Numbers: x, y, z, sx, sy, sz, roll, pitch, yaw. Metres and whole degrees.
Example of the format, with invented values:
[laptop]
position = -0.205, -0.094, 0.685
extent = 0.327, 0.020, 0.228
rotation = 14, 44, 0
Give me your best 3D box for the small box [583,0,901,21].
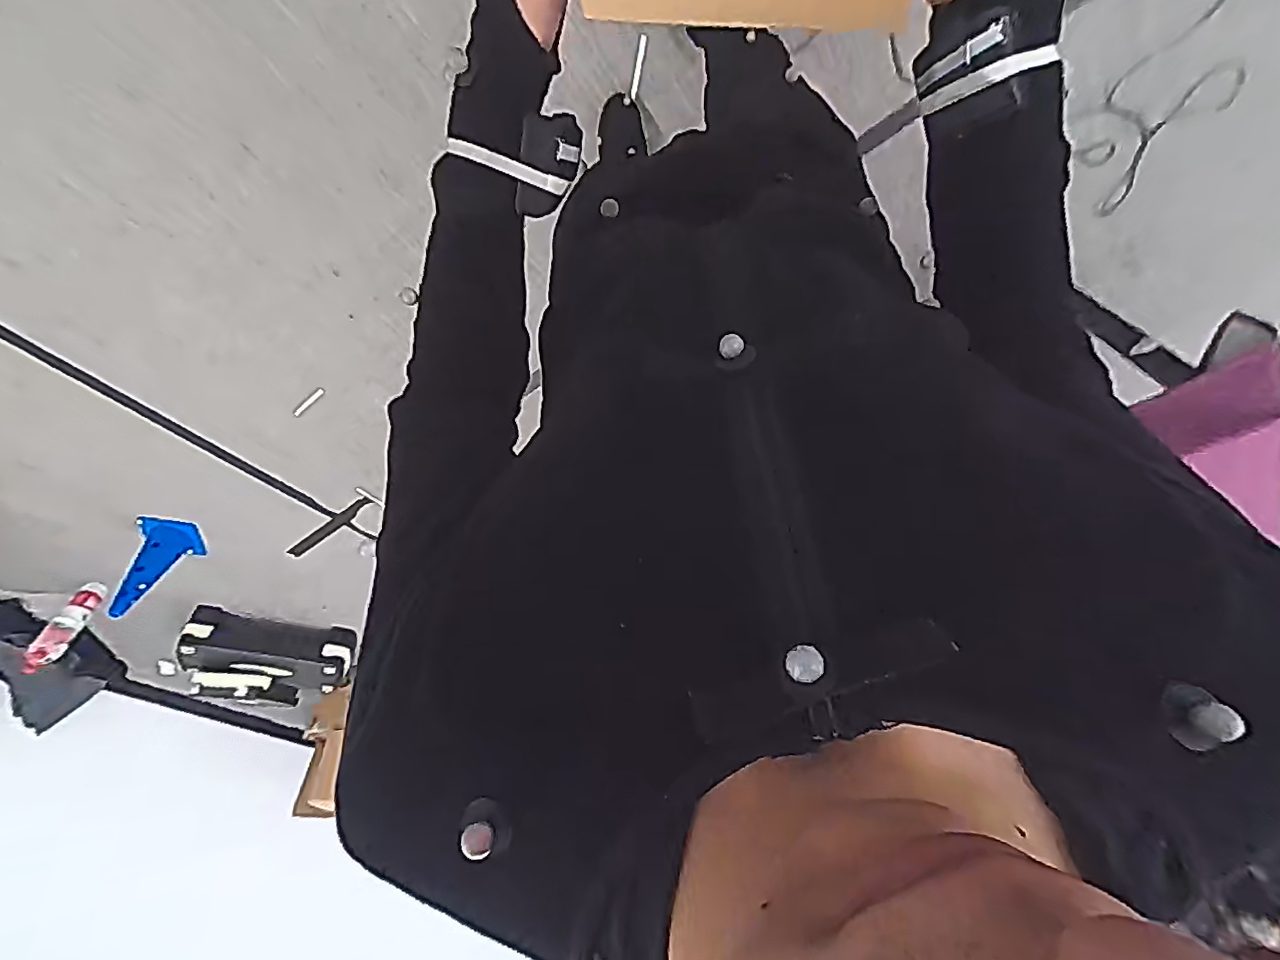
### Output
[small box]
position = 0.062, -0.351, 0.248
extent = 0.168, 0.176, 0.179
rotation = 9, 146, 9
